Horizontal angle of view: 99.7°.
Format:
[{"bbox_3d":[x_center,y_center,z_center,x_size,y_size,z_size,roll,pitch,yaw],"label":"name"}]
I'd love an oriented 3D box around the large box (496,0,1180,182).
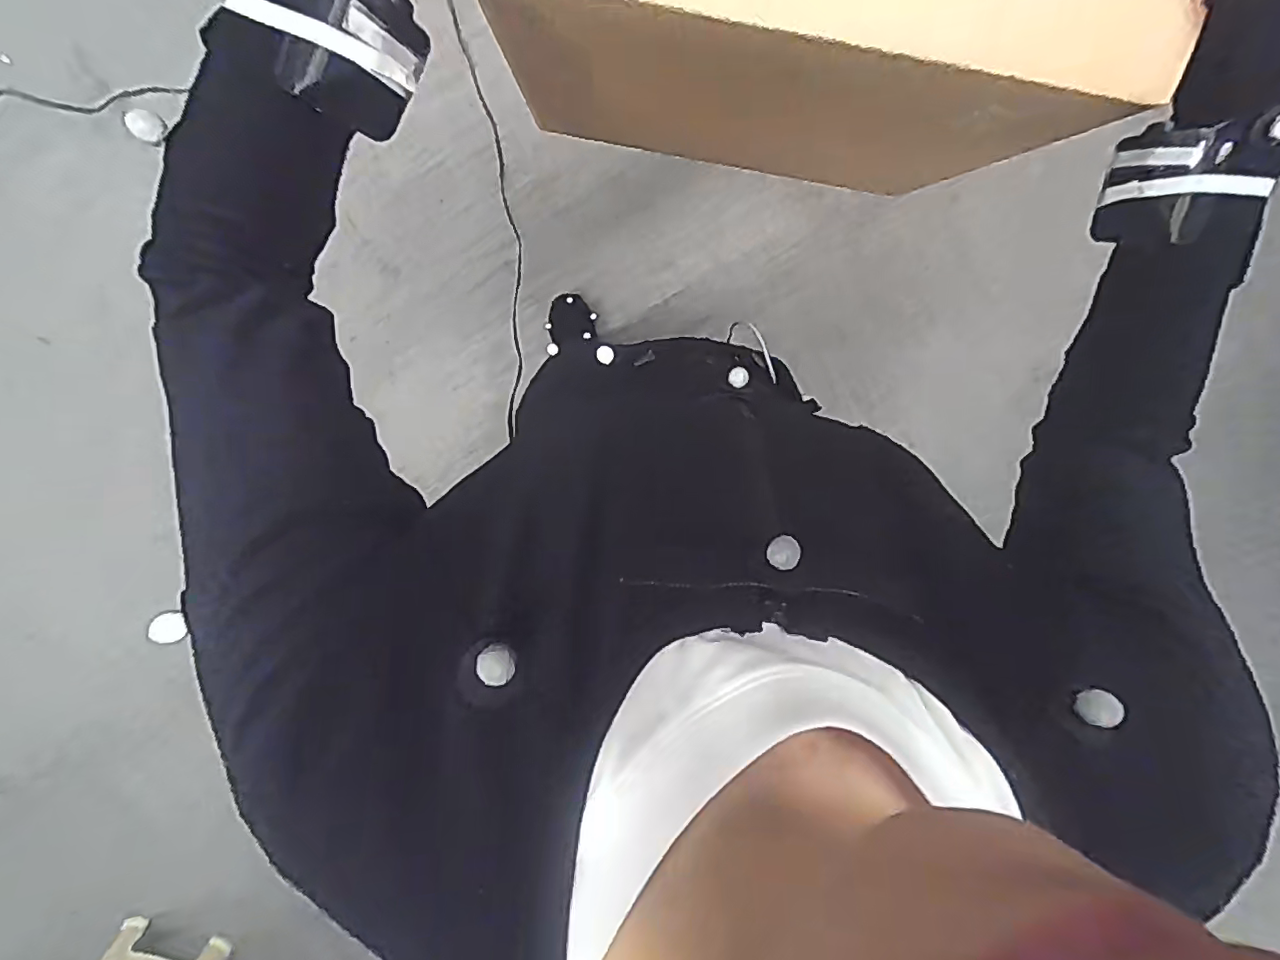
[{"bbox_3d":[0.116,-0.444,0.398,0.408,0.320,0.320,6,109,-6],"label":"large box"}]
